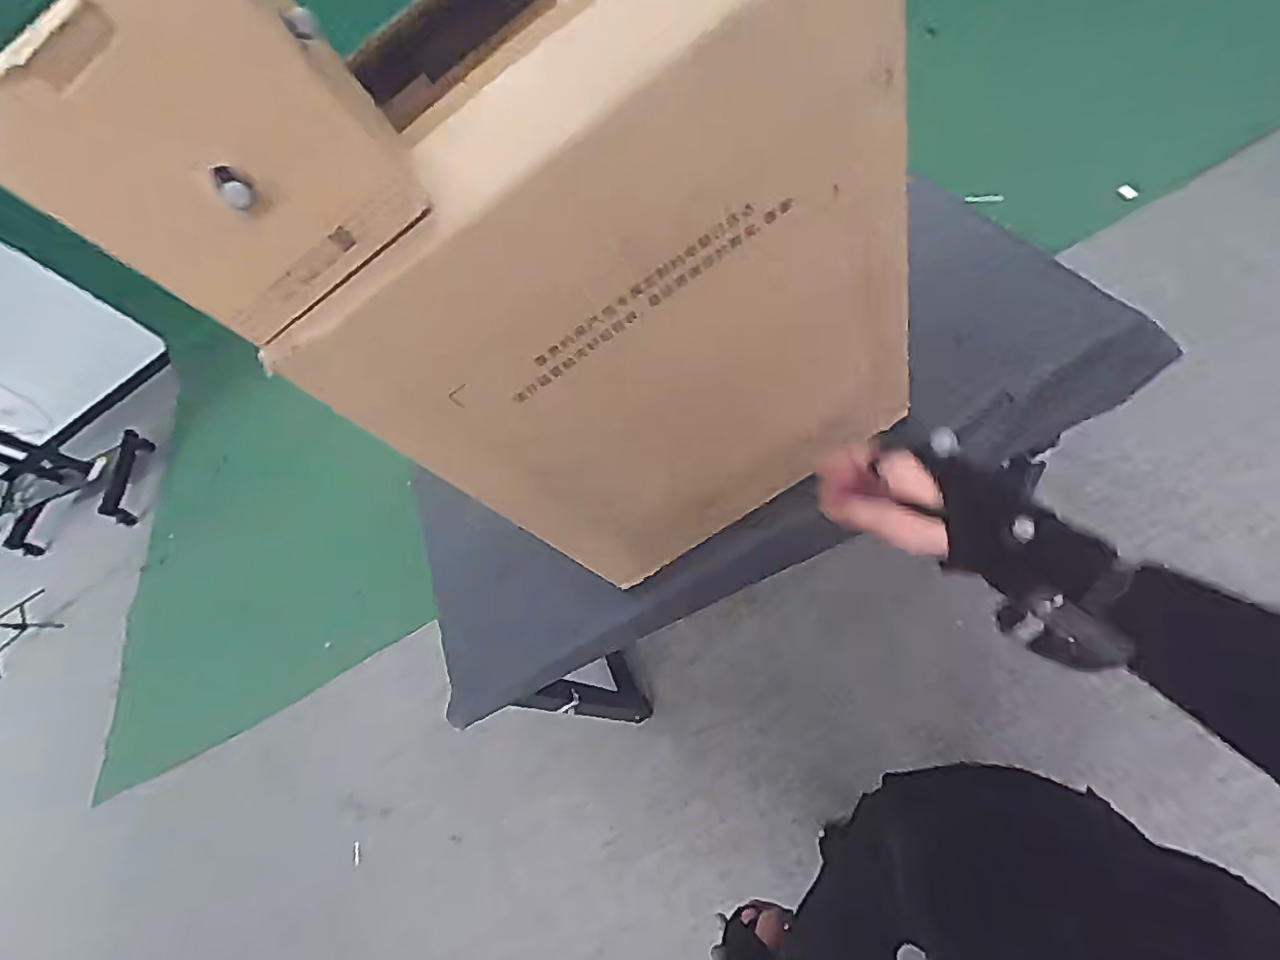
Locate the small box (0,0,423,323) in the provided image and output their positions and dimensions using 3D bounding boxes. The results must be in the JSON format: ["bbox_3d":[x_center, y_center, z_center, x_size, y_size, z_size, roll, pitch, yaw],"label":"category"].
[{"bbox_3d":[-0.276,-0.238,0.369,0.168,0.176,0.179,-35,55,7],"label":"small box"}]
